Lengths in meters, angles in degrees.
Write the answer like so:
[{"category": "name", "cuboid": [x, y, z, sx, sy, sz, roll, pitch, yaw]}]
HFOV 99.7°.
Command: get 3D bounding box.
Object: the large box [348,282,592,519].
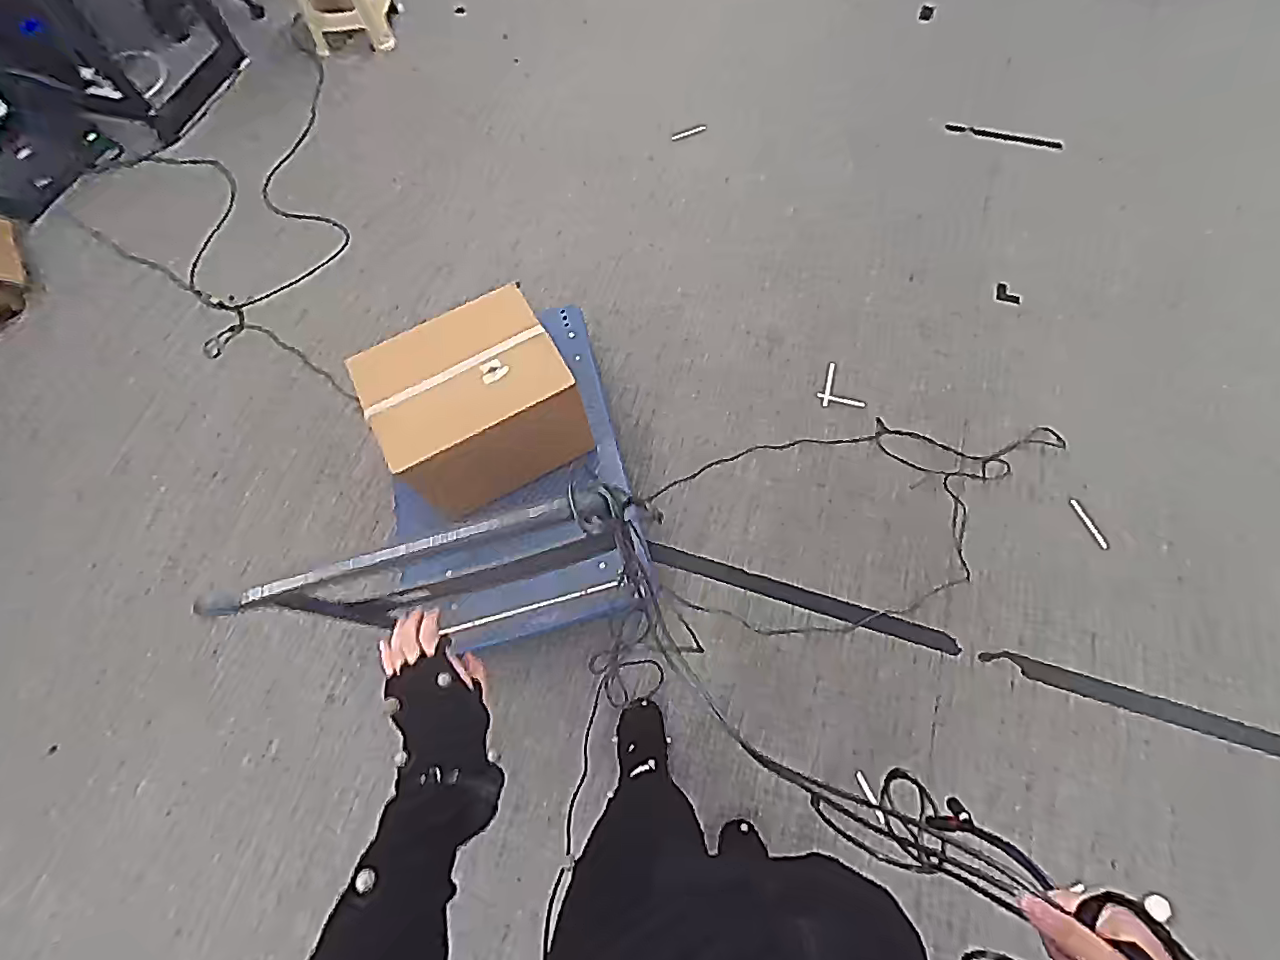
[{"category": "large box", "cuboid": [-0.369, -0.170, 1.256, 0.408, 0.320, 0.320, -28, 70, -8]}]
